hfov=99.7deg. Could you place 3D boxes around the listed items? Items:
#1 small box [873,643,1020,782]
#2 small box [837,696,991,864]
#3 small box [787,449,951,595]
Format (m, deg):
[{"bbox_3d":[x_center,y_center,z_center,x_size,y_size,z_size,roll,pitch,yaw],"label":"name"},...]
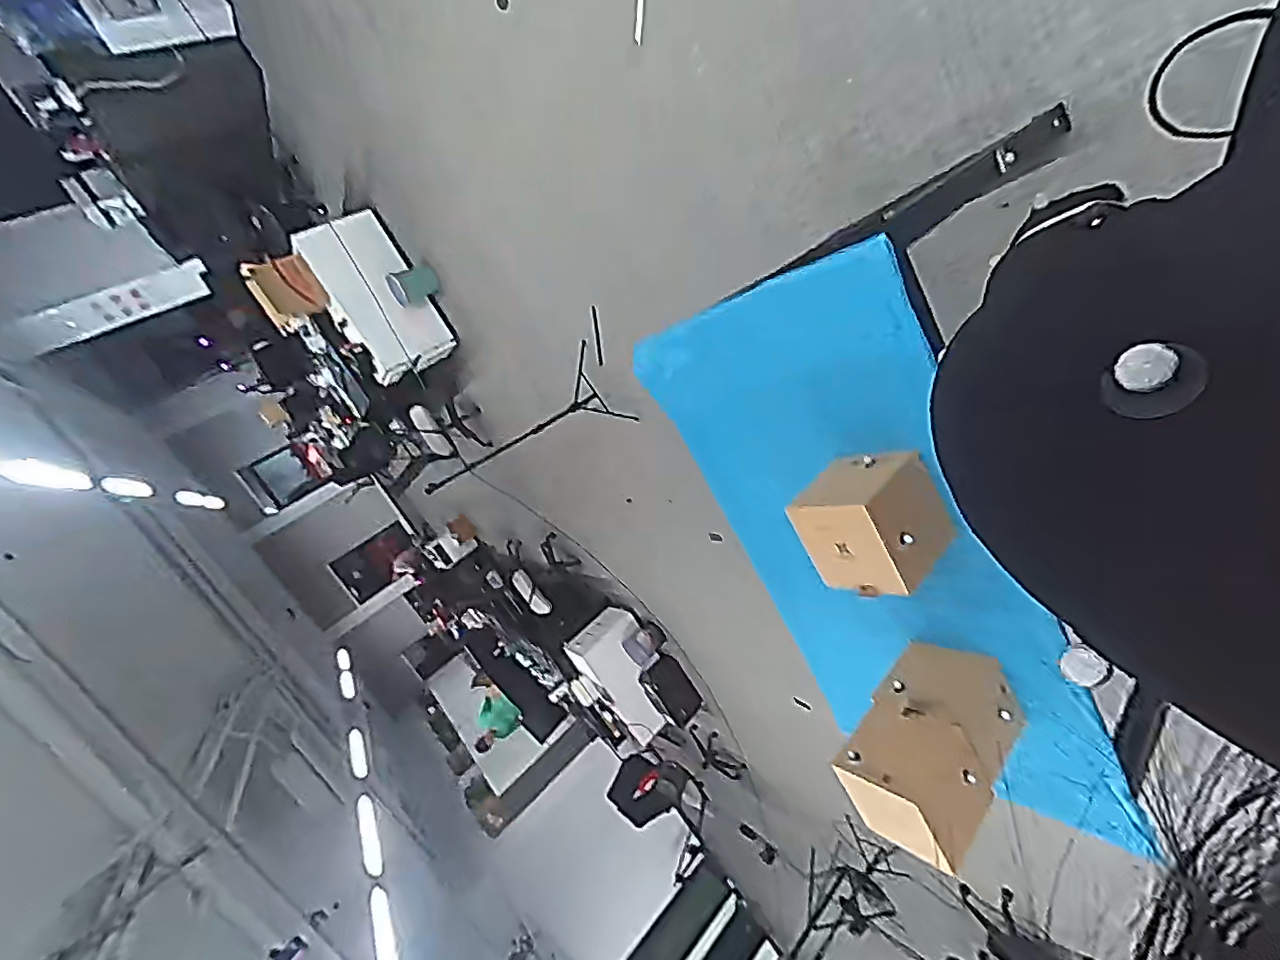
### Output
[{"bbox_3d":[0.602,0.446,1.062,0.179,0.176,0.168,-5,120,57],"label":"small box"},{"bbox_3d":[0.487,0.533,0.976,0.168,0.176,0.179,-6,117,60],"label":"small box"},{"bbox_3d":[0.396,0.068,0.930,0.179,0.176,0.168,59,153,-13],"label":"small box"}]
